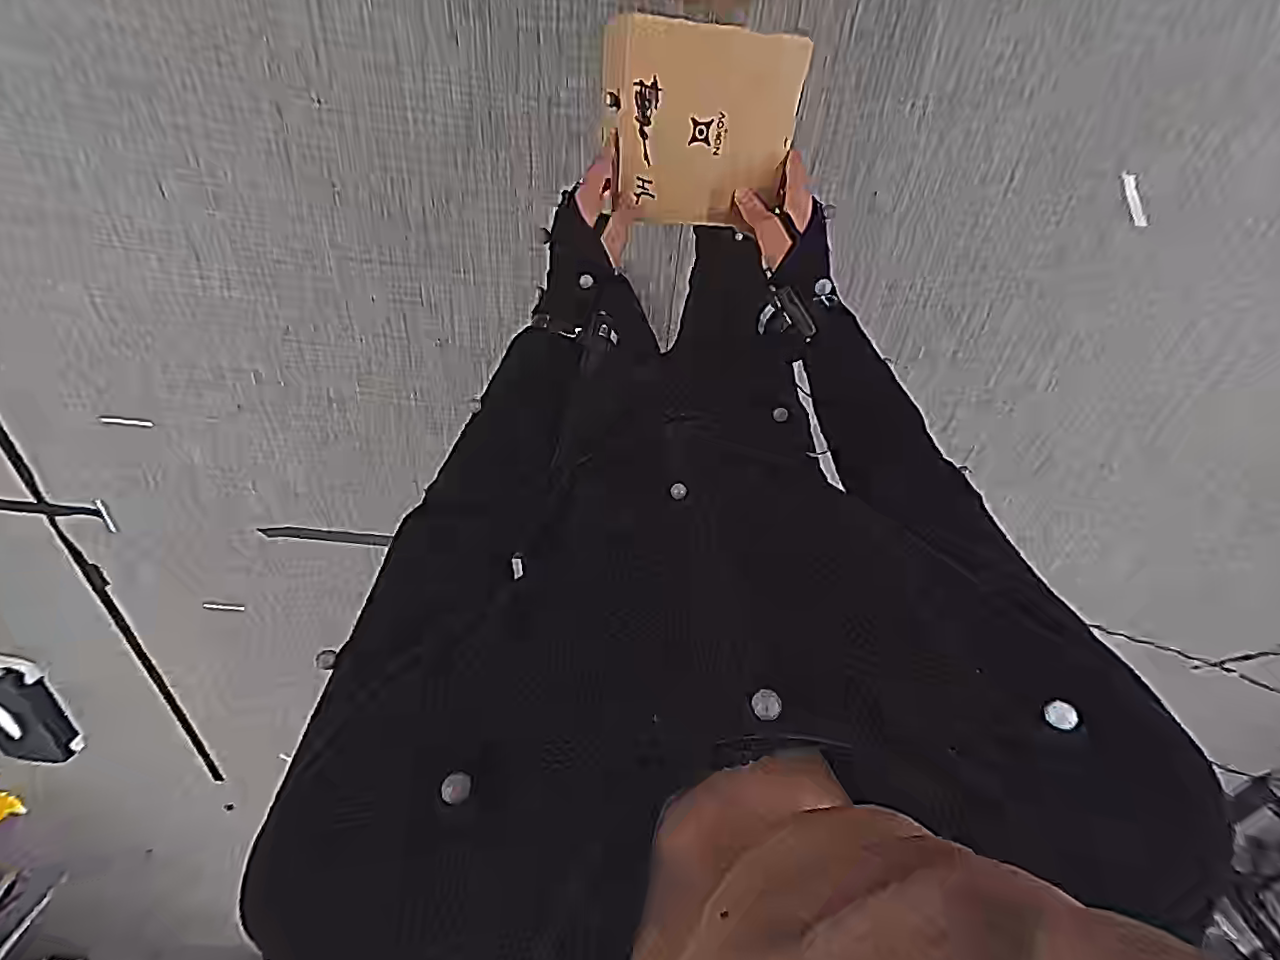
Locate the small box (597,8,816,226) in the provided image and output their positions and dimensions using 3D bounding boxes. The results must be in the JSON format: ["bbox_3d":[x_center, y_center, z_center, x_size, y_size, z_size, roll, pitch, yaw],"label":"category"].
[{"bbox_3d":[0.054,-0.388,0.584,0.179,0.176,0.168,-2,128,-12],"label":"small box"}]
